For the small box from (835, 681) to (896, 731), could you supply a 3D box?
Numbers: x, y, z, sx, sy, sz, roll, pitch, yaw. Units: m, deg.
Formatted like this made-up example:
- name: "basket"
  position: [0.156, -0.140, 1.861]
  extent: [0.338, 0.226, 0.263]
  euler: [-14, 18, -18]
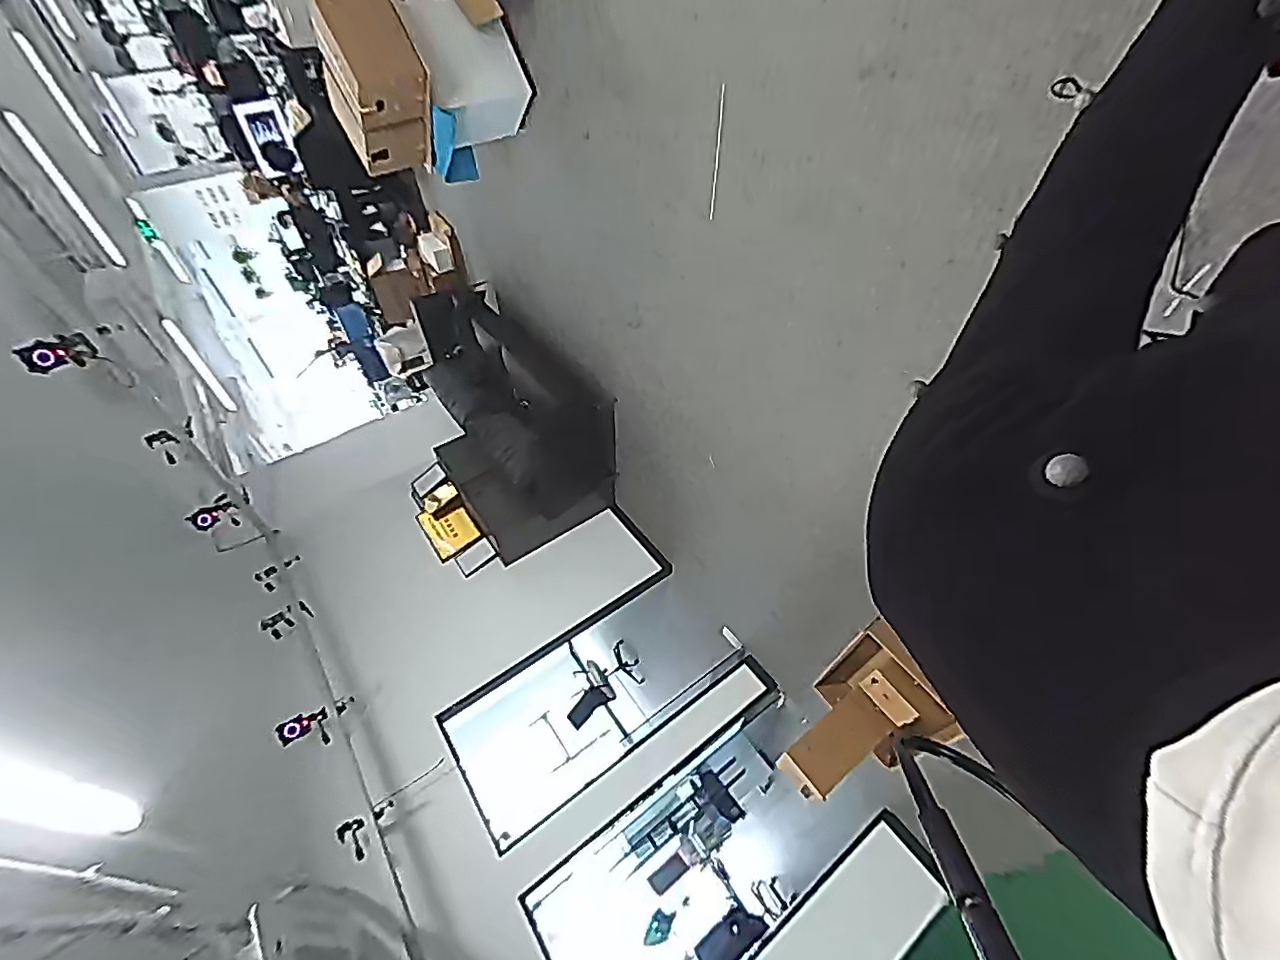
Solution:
- name: "small box"
  position: [0.877, 0.838, 2.034]
  extent: [0.179, 0.176, 0.168]
  euler: [47, 154, 28]

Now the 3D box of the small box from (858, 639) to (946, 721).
- name: "small box"
  position: [0.882, 0.671, 1.820]
  extent: [0.179, 0.176, 0.168]
  euler: [48, 155, 27]

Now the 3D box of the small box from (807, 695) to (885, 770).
- name: "small box"
  position: [0.746, 0.910, 1.966]
  extent: [0.179, 0.176, 0.168]
  euler: [45, 152, 29]
